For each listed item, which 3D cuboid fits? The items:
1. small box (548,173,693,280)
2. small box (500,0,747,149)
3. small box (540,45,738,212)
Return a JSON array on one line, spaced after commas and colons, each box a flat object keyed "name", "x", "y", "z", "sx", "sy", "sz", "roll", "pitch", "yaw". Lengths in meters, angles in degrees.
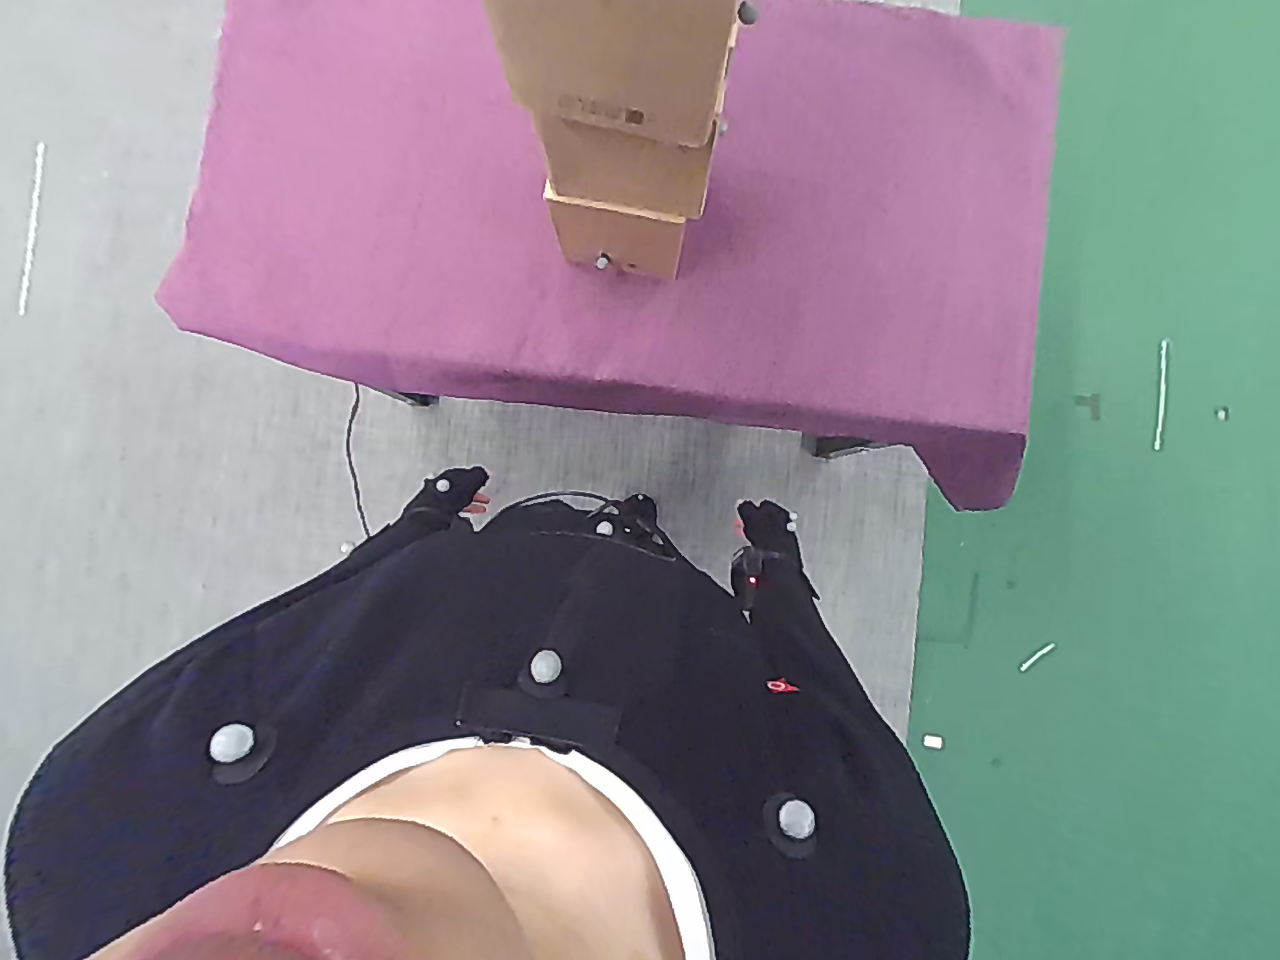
[{"name": "small box", "x": -0.009, "y": -0.385, "z": 0.692, "sx": 0.168, "sy": 0.176, "sz": 0.179, "roll": 11, "pitch": 89, "yaw": 0}, {"name": "small box", "x": -0.002, "y": -0.374, "z": 0.367, "sx": 0.168, "sy": 0.176, "sz": 0.179, "roll": 12, "pitch": 87, "yaw": 0}, {"name": "small box", "x": -0.001, "y": -0.391, "z": 0.531, "sx": 0.179, "sy": 0.176, "sz": 0.168, "roll": 9, "pitch": 88, "yaw": 0}]
